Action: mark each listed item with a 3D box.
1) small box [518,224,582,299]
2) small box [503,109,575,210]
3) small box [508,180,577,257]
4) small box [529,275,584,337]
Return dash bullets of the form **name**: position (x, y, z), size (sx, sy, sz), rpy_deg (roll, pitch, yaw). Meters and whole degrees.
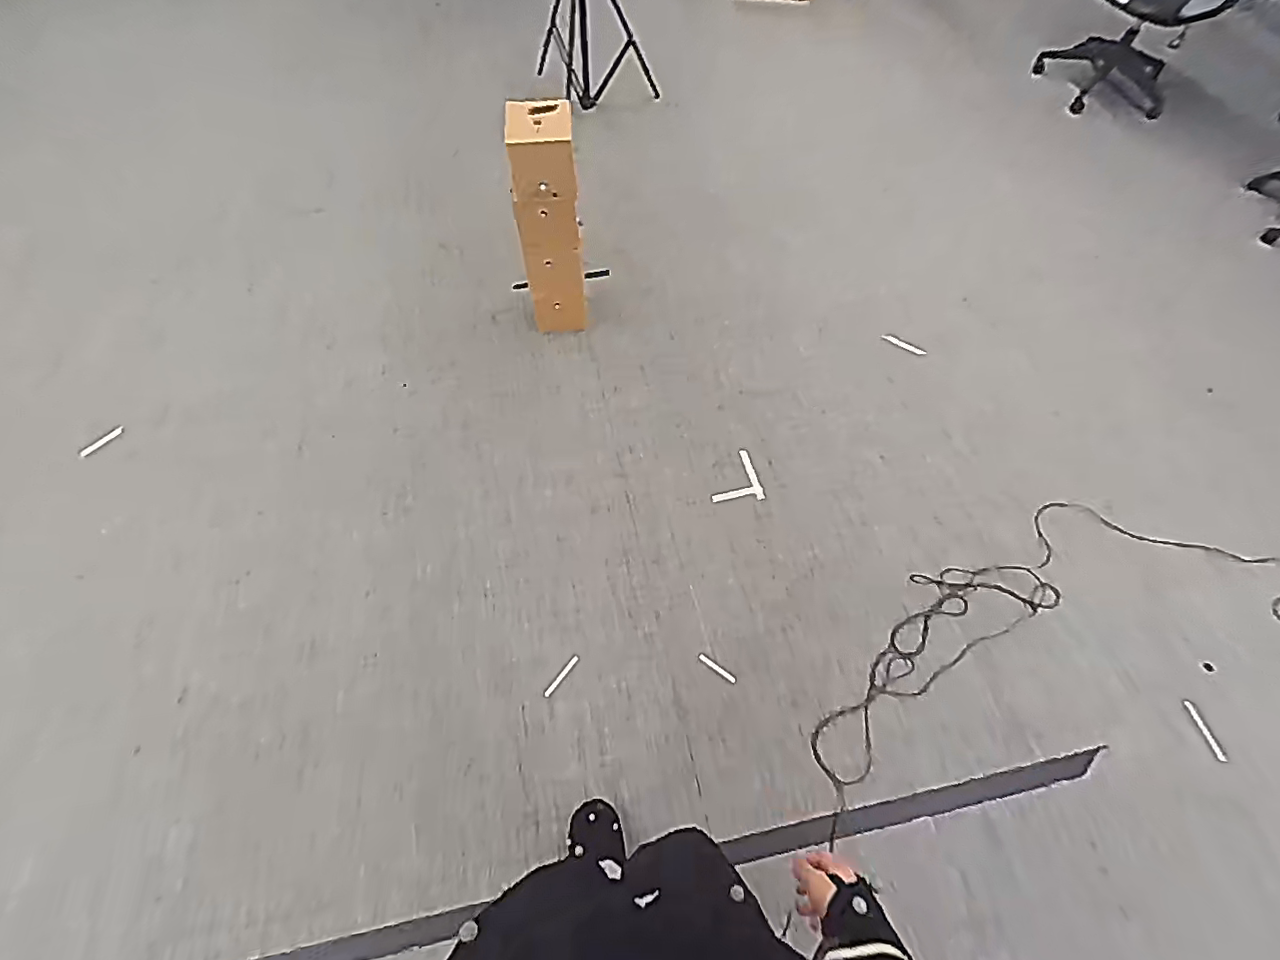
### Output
- **small box**: position (-0.283, -0.697, 1.729), size (0.179, 0.176, 0.168), rpy_deg (-2, 63, -2)
- **small box**: position (-0.266, -0.852, 1.442), size (0.168, 0.176, 0.179), rpy_deg (-5, 64, -3)
- **small box**: position (-0.282, -0.778, 1.589), size (0.179, 0.176, 0.168), rpy_deg (-4, 64, -4)
- **small box**: position (-0.284, -0.613, 1.871), size (0.179, 0.176, 0.168), rpy_deg (-5, 63, -4)
